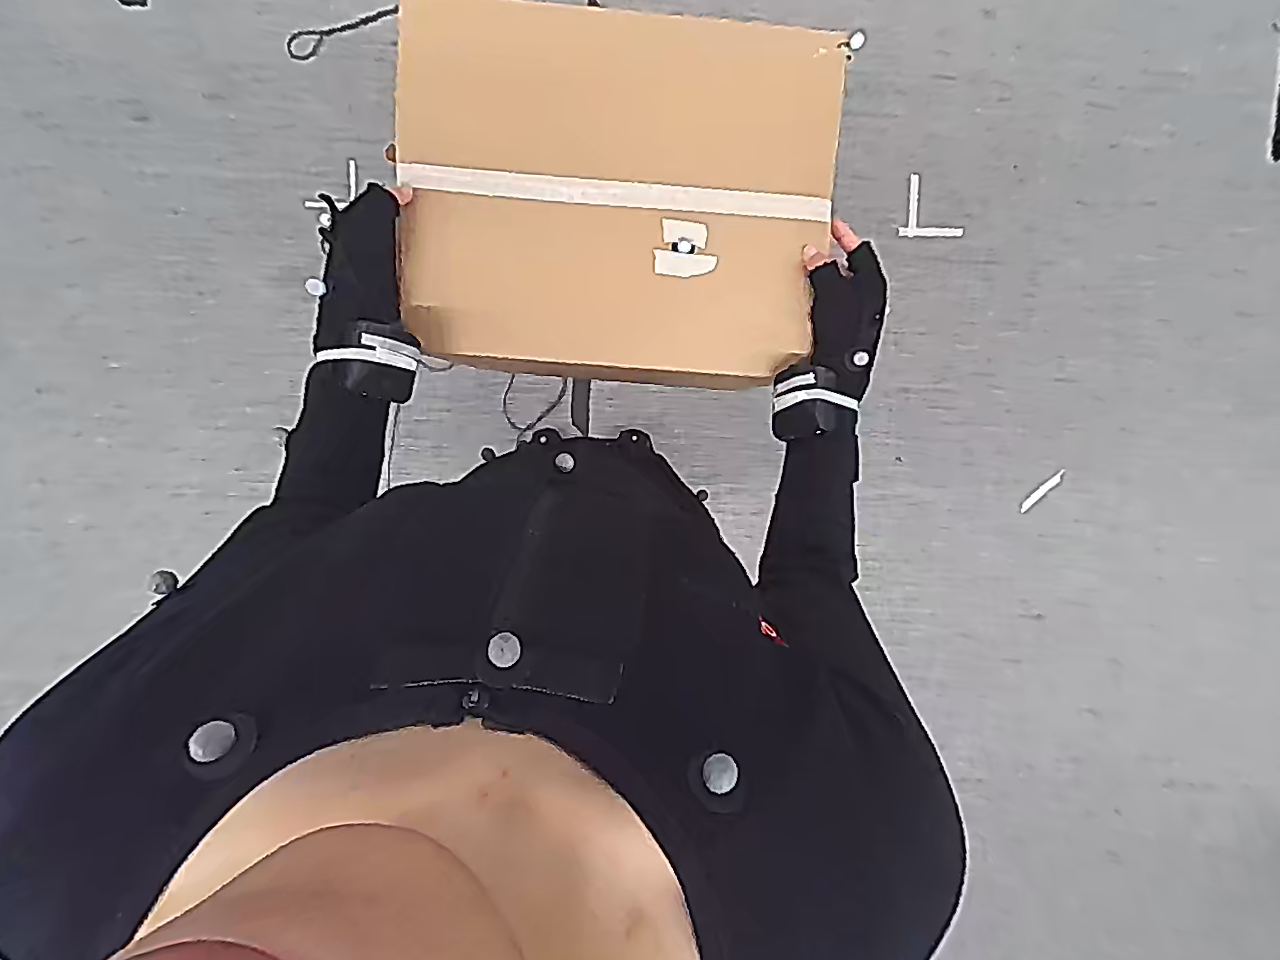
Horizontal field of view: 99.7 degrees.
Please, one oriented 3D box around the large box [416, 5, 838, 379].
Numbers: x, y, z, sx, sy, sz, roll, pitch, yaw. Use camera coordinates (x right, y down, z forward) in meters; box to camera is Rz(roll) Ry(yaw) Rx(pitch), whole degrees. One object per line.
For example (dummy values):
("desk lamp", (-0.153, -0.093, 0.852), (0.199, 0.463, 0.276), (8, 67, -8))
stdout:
("large box", (-0.023, -0.297, 0.672), (0.408, 0.320, 0.320), (4, 99, -3))
